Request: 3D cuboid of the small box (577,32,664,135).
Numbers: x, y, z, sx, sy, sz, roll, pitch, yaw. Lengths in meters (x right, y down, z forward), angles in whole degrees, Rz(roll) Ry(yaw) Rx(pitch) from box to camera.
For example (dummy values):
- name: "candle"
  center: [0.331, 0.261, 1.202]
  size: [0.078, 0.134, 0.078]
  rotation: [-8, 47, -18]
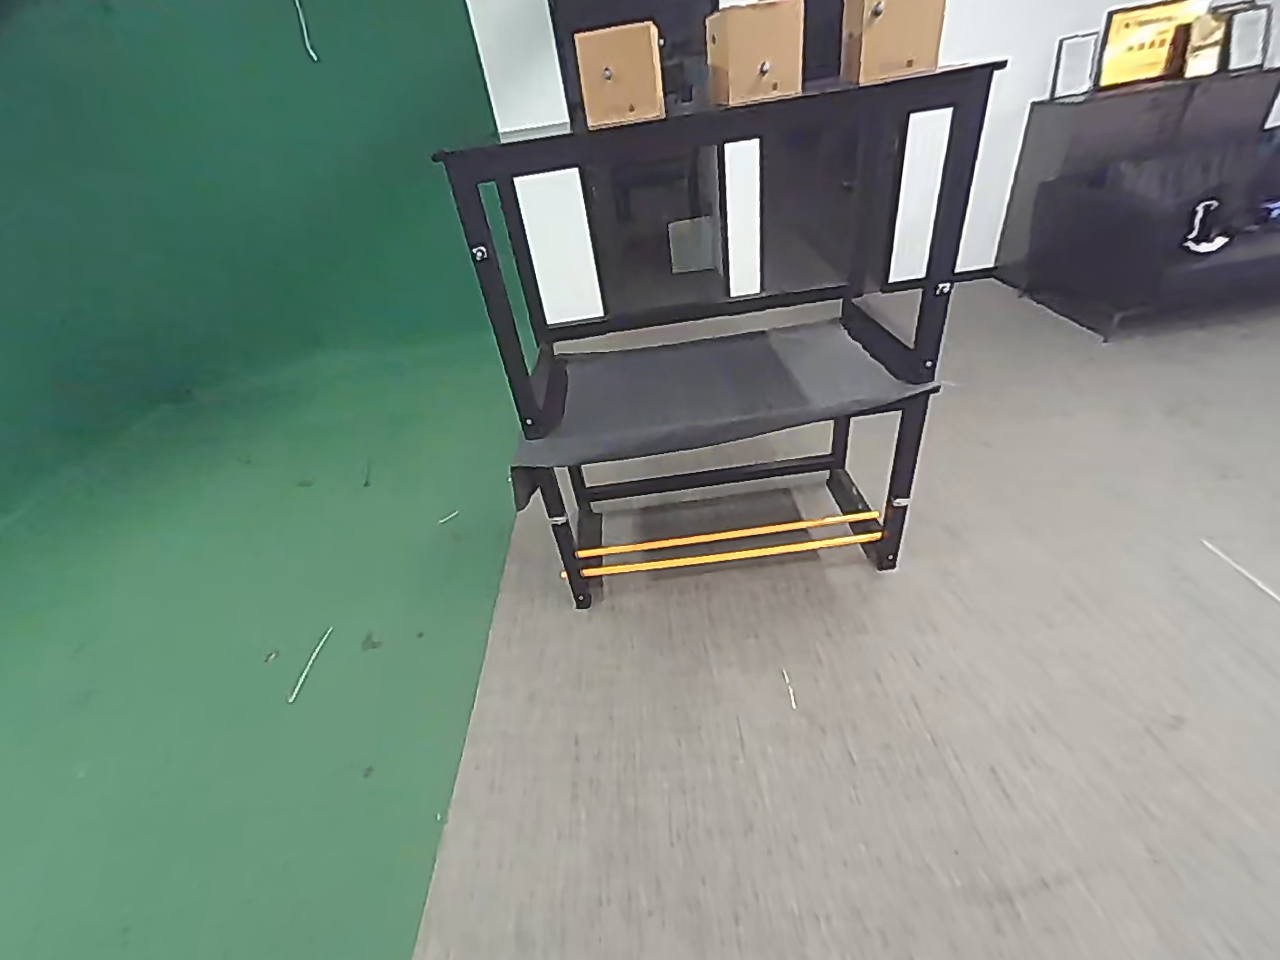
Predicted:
- name: "small box"
  center: [-0.037, -0.914, 1.259]
  size: [0.168, 0.176, 0.179]
  rotation: [-3, 35, 9]

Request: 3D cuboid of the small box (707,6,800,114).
- name: "small box"
  center: [0.253, -0.946, 1.232]
  size: [0.168, 0.176, 0.179]
  rotation: [-11, 35, -1]
